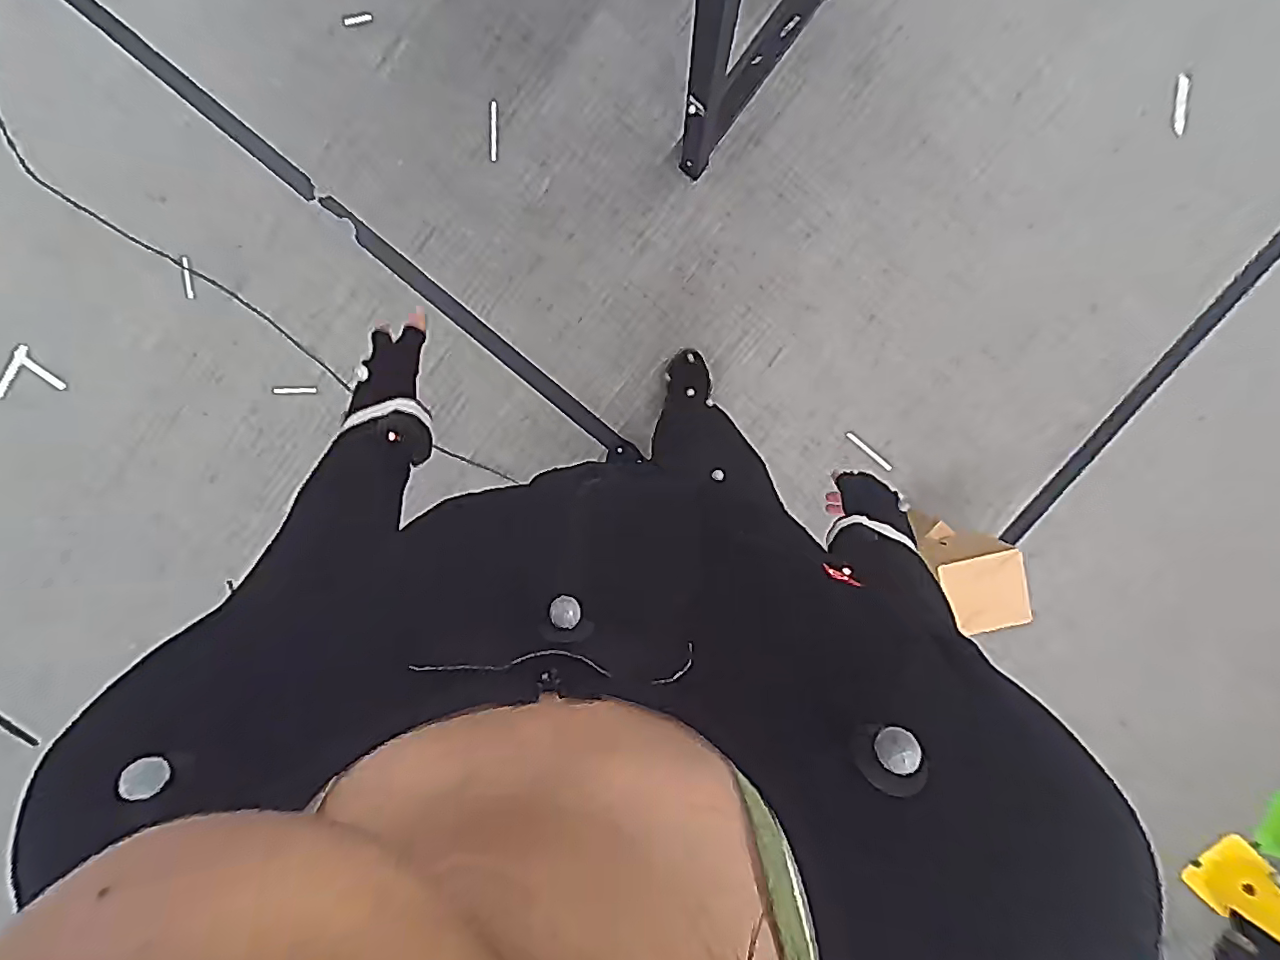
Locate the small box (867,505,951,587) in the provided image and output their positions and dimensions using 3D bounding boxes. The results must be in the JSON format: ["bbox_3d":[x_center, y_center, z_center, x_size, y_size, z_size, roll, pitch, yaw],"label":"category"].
[{"bbox_3d":[0.720,0.188,1.400,0.168,0.176,0.179,41,96,-5],"label":"small box"}]

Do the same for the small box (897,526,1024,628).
[{"bbox_3d":[0.725,0.219,1.235,0.179,0.176,0.168,-14,98,3],"label":"small box"}]
